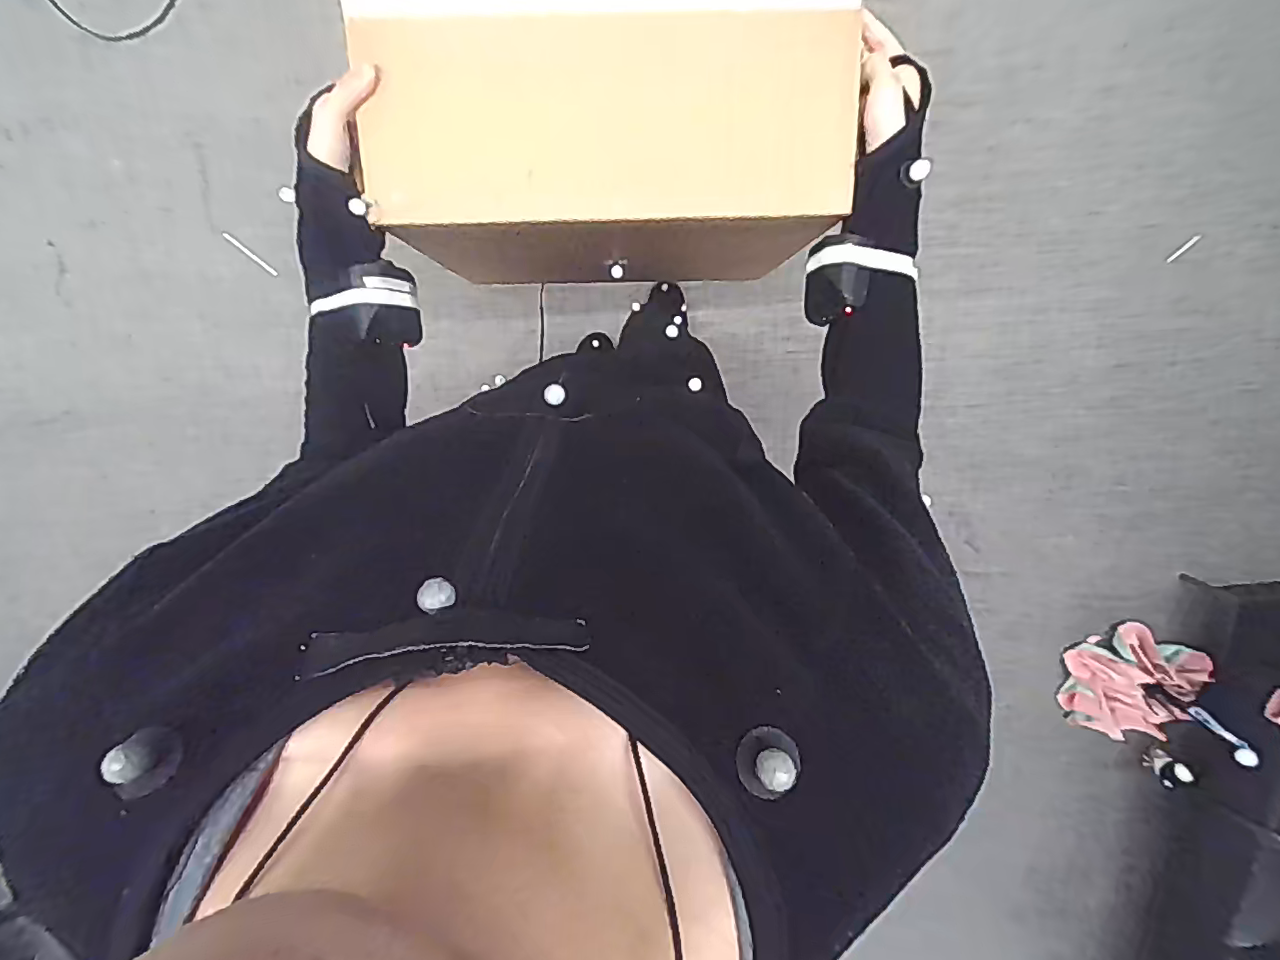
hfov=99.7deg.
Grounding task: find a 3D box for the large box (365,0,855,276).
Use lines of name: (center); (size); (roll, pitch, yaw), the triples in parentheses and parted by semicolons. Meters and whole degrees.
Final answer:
large box: (-0.023, -0.408, 0.581); (0.408, 0.320, 0.320); (-2, 101, 0)
